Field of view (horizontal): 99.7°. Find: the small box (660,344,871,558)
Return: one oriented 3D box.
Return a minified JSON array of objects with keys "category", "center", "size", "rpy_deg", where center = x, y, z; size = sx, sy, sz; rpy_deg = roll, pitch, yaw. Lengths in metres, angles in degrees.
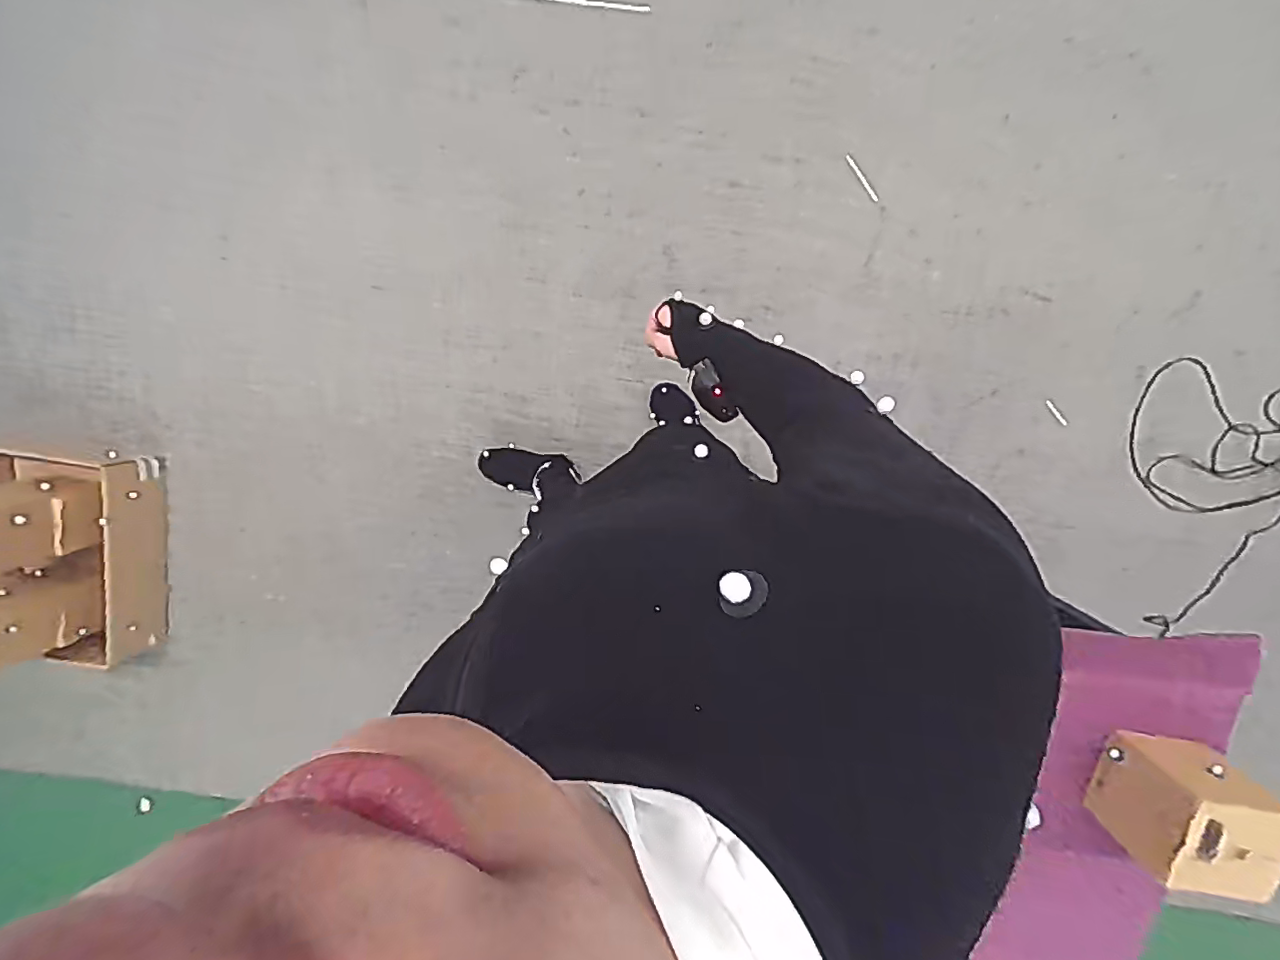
[{"category":"small box","center":[0.125,-0.034,0.581],"size":[0.179,0.176,0.168],"rpy_deg":[-13,110,11]}]

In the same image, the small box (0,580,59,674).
[{"category":"small box","center":[-1.681,0.383,1.404],"size":[0.168,0.176,0.179],"rpy_deg":[19,100,-3]}]

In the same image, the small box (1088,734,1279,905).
[{"category":"small box","center":[0.920,0.559,0.912],"size":[0.179,0.176,0.168],"rpy_deg":[9,102,-1]}]
